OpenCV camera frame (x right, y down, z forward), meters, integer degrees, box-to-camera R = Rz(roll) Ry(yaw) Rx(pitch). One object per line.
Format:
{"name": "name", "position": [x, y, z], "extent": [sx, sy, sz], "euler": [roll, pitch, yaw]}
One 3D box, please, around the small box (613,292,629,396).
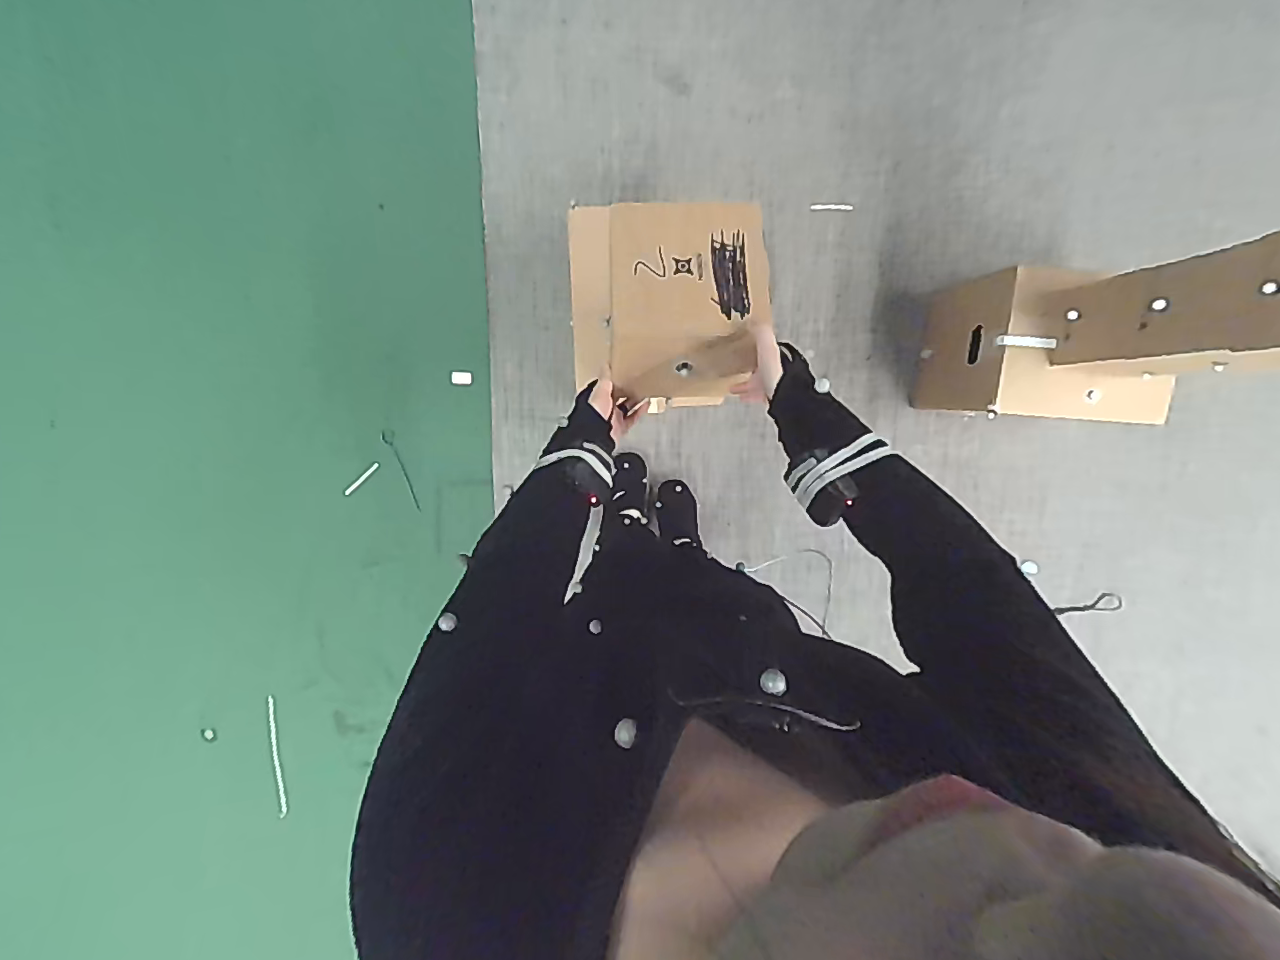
{"name": "small box", "position": [0.034, -0.248, 1.022], "extent": [0.168, 0.176, 0.179], "euler": [-1, 98, -3]}

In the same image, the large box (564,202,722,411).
{"name": "large box", "position": [0.006, -0.370, 1.248], "extent": [0.320, 0.320, 0.408], "euler": [-3, 98, -3]}

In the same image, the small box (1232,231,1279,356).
{"name": "small box", "position": [0.988, -0.258, 0.738], "extent": [0.168, 0.176, 0.179], "euler": [8, 97, -5]}

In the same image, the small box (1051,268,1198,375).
{"name": "small box", "position": [0.969, -0.301, 1.063], "extent": [0.179, 0.176, 0.168], "euler": [7, 97, -4]}

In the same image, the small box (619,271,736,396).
{"name": "small box", "position": [0.052, -0.222, 0.860], "extent": [0.168, 0.176, 0.179], "euler": [-1, 98, -4]}

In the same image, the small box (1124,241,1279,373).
{"name": "small box", "position": [0.980, -0.276, 0.901], "extent": [0.179, 0.176, 0.168], "euler": [9, 96, -4]}
